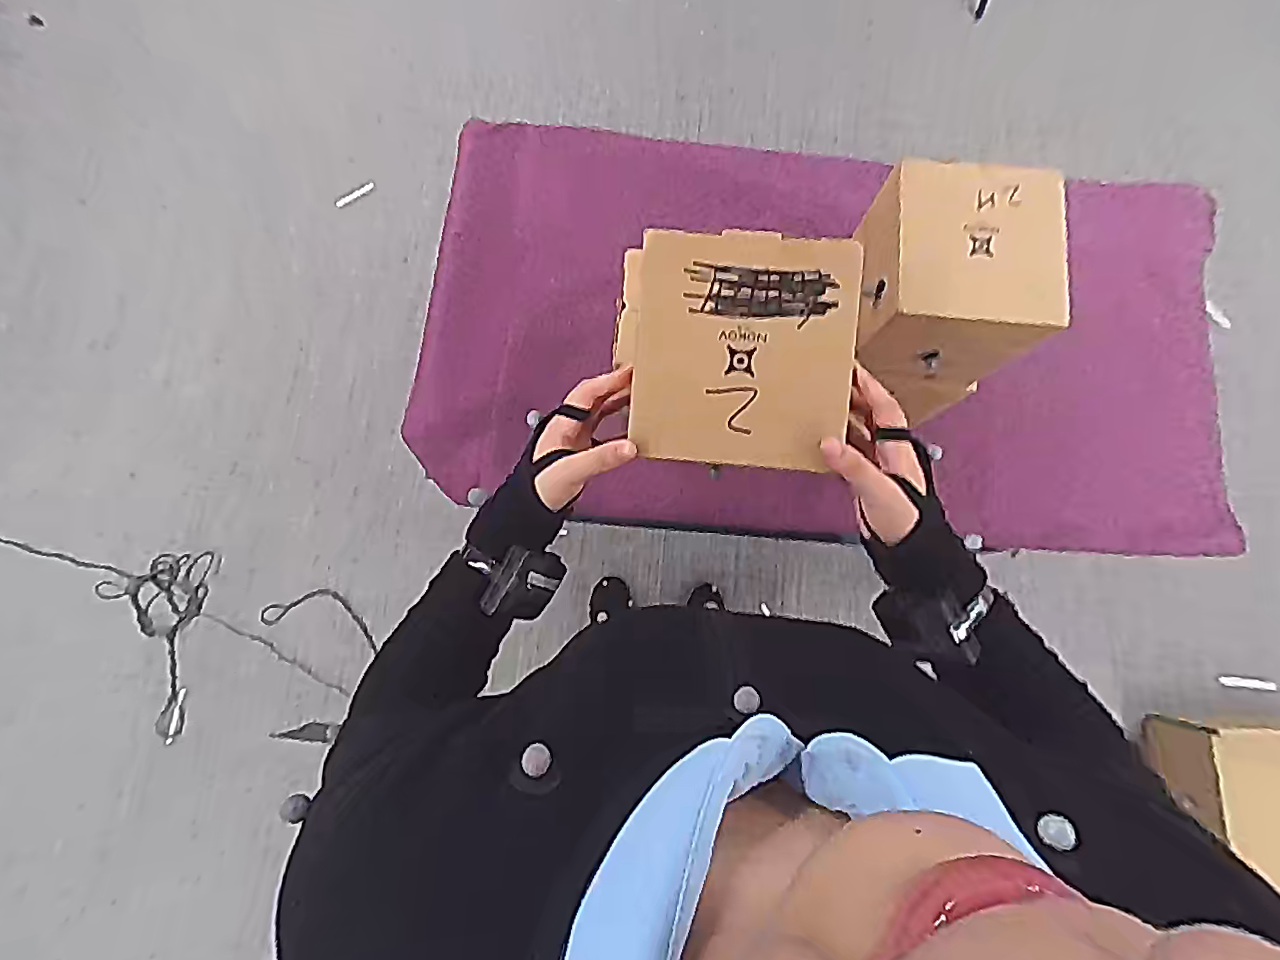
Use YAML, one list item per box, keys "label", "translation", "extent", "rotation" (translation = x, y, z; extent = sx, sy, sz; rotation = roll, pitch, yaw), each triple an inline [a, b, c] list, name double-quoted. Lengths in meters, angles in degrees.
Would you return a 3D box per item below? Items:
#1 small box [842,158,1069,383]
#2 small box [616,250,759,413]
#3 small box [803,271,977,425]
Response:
- label: "small box"
  translation: [0.342, -0.223, 0.616]
  extent: [0.168, 0.176, 0.179]
  rotation: [6, 79, 2]
- label: "small box"
  translation: [0.063, -0.203, 0.779]
  extent: [0.179, 0.176, 0.168]
  rotation: [6, 79, 0]
- label: "small box"
  translation: [0.349, -0.183, 0.776]
  extent: [0.179, 0.176, 0.168]
  rotation: [6, 79, 2]
